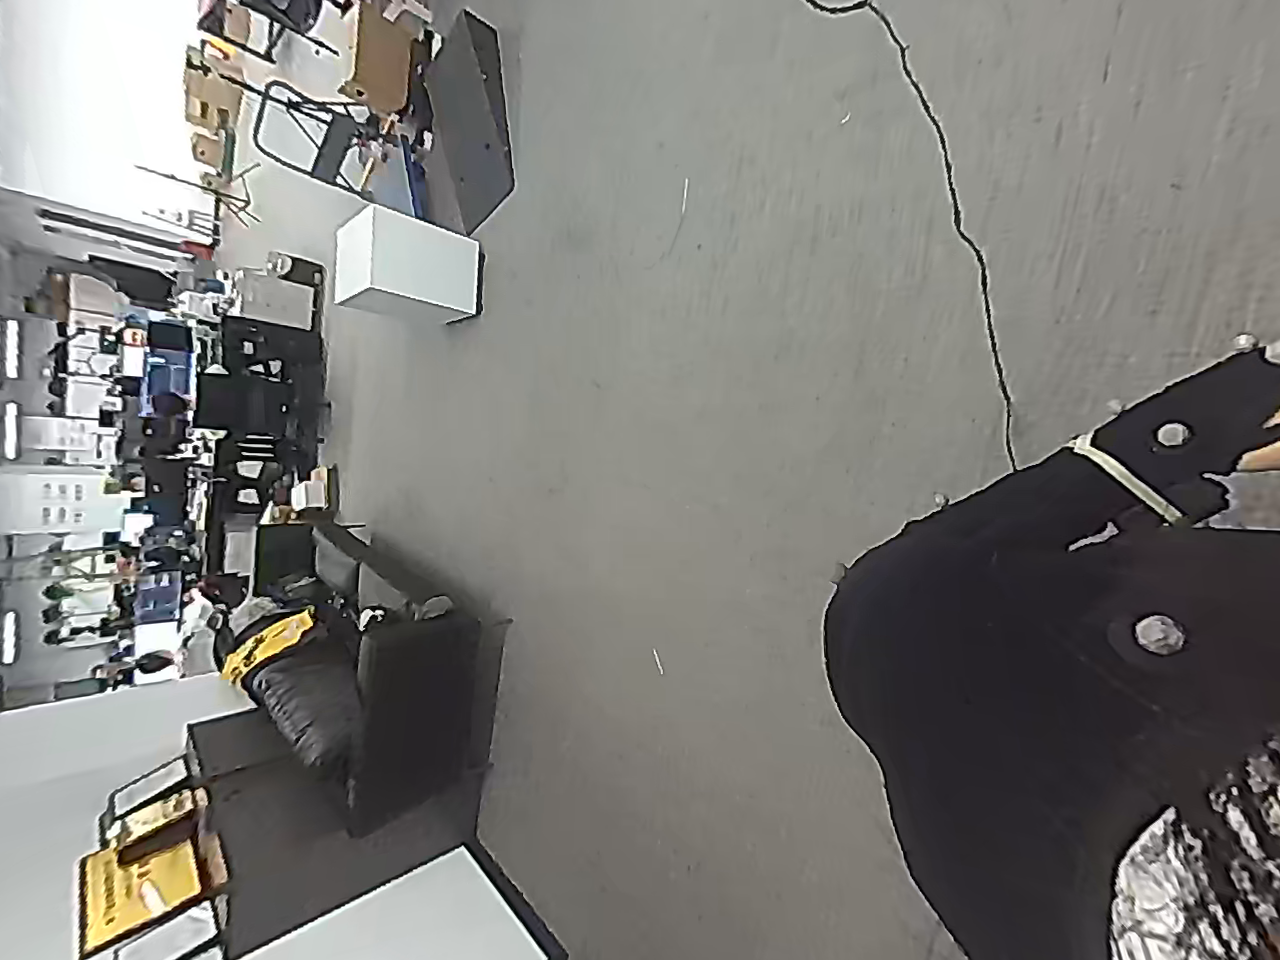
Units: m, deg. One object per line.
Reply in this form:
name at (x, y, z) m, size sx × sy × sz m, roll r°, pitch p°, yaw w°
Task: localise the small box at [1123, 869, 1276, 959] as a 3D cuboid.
small box at (1.030, 0.884, 0.999) m, size 0.168 × 0.176 × 0.179 m, roll 22°, pitch 103°, yaw 42°
